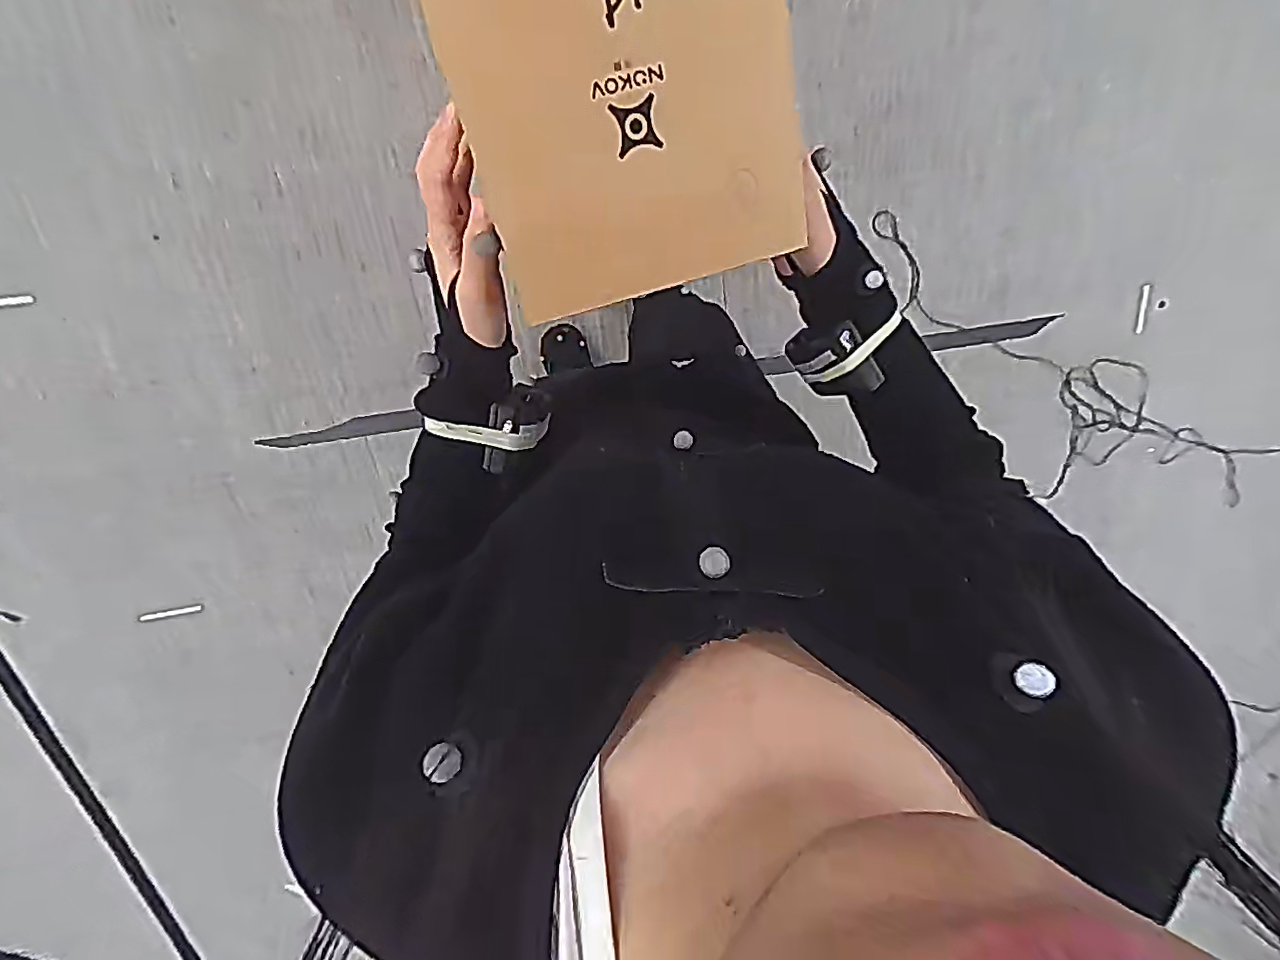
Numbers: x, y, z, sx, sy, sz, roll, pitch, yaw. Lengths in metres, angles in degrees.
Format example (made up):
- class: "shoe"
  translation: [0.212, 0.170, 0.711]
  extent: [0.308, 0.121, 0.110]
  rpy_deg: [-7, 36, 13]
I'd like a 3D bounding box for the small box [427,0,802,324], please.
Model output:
- class: "small box"
  translation: [-0.017, -0.218, 0.340]
  extent: [0.168, 0.176, 0.179]
  rpy_deg: [-18, 117, -4]
